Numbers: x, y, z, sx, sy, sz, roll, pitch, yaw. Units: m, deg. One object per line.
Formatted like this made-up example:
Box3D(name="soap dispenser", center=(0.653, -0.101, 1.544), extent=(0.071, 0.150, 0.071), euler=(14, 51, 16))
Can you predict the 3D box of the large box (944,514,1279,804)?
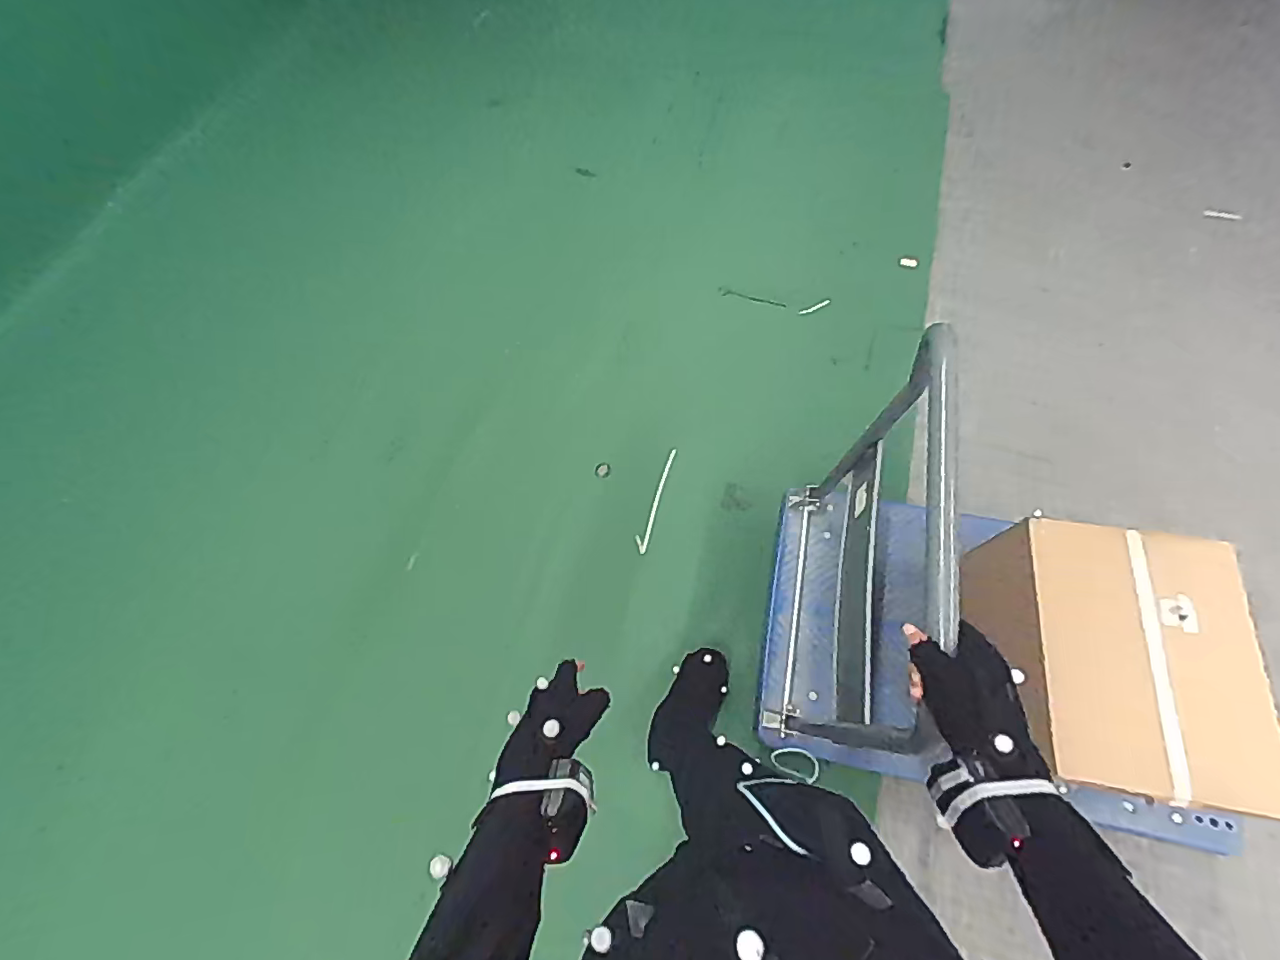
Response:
Box3D(name="large box", center=(0.786, 0.319, 0.980), extent=(0.320, 0.320, 0.408), euler=(8, 66, 7))
